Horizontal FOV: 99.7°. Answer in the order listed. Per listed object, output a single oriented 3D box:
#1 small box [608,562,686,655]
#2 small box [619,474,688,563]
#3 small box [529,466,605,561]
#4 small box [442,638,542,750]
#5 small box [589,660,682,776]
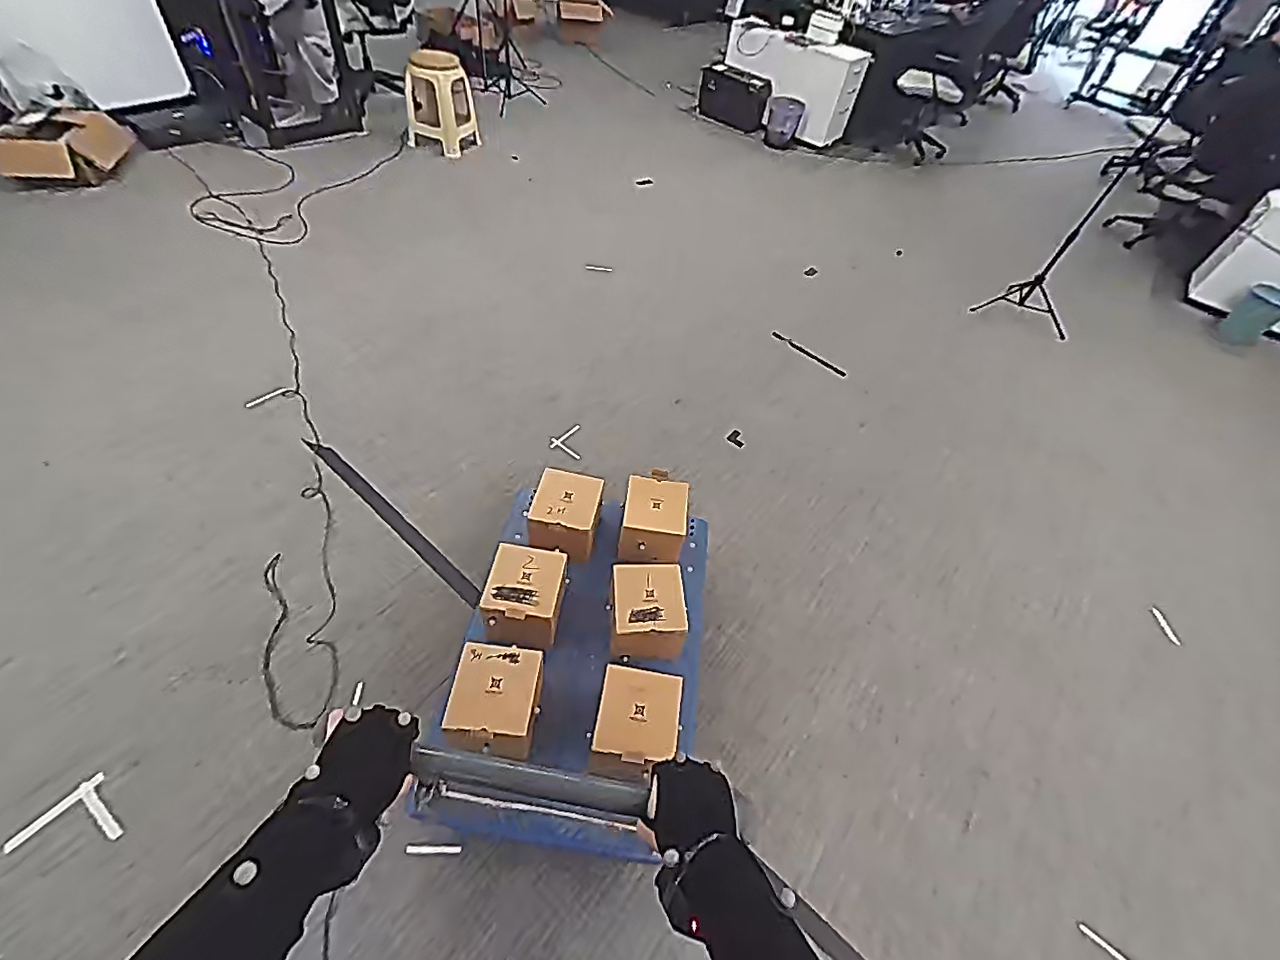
[{"bbox_3d":[0.011,0.320,1.330,0.168,0.176,0.179,2,50,-8],"label":"small box"},{"bbox_3d":[0.034,0.112,1.505,0.168,0.176,0.179,9,50,-2],"label":"small box"},{"bbox_3d":[-0.199,0.094,1.478,0.168,0.176,0.179,12,51,1],"label":"small box"},{"bbox_3d":[-0.306,0.464,1.160,0.168,0.176,0.179,9,51,-3],"label":"small box"},{"bbox_3d":[-0.012,0.518,1.166,0.168,0.176,0.179,12,50,0],"label":"small box"}]
